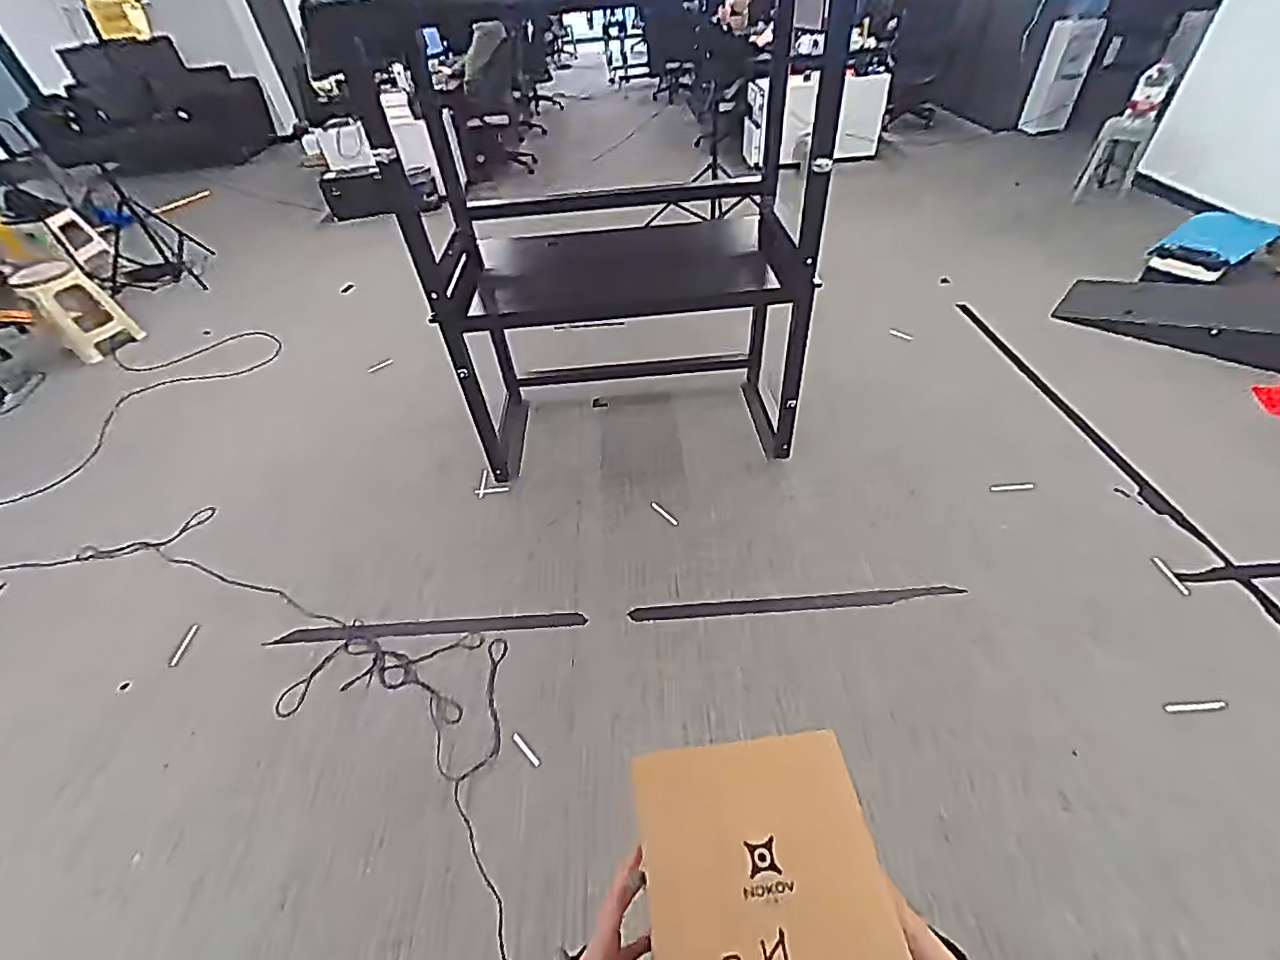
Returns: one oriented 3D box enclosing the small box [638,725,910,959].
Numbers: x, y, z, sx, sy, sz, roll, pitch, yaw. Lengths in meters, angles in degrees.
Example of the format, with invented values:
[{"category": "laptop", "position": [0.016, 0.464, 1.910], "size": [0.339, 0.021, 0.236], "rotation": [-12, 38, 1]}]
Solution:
[{"category": "small box", "position": [0.086, 0.325, 0.438], "size": [0.168, 0.176, 0.179], "rotation": [-6, 47, -3]}]
